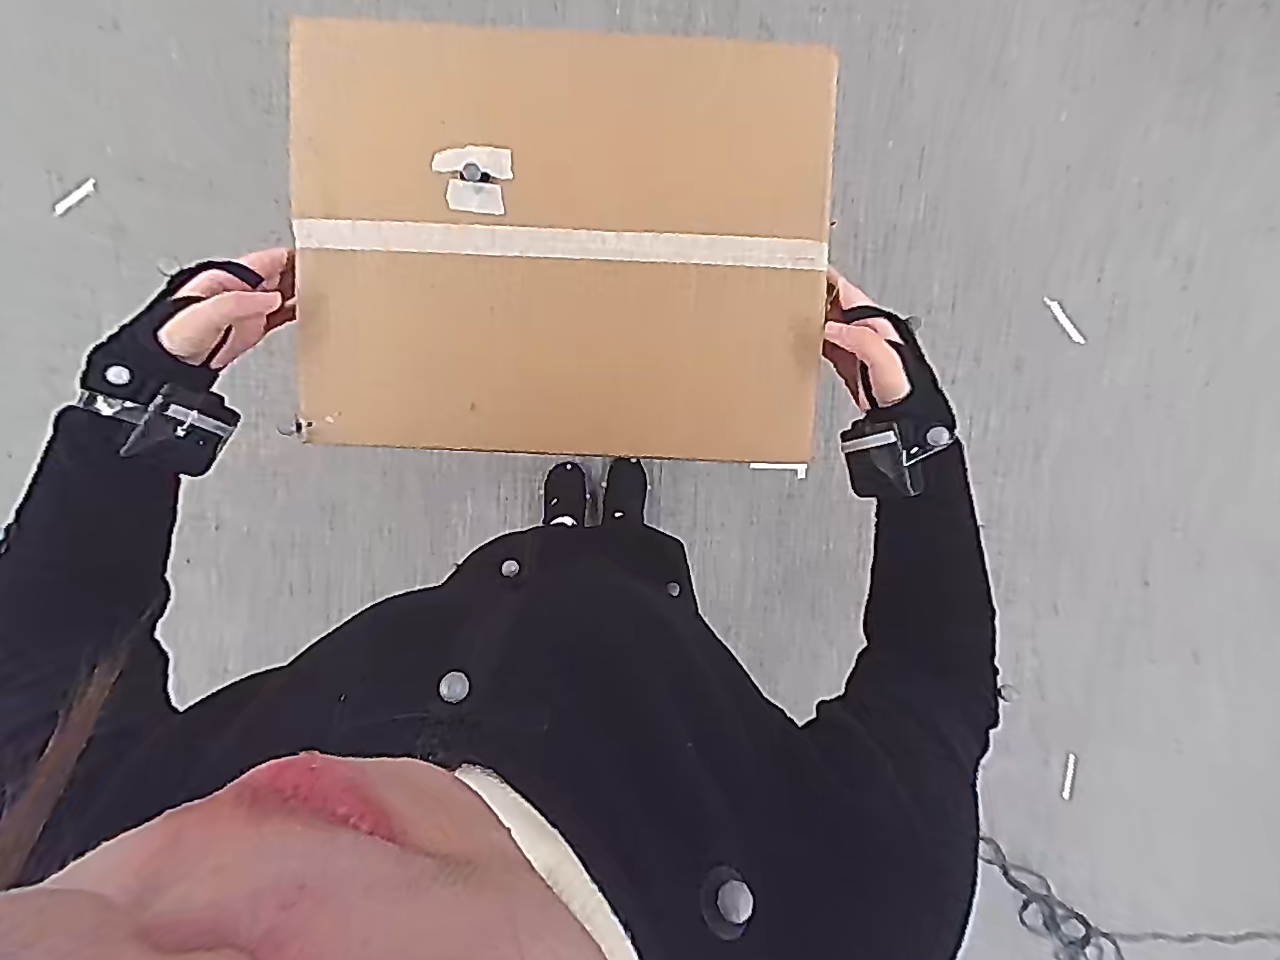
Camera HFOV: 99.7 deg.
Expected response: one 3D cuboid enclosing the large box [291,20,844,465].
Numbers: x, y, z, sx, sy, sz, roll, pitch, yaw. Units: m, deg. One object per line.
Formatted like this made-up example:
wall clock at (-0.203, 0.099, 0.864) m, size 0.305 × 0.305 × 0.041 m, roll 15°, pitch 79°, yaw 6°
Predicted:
large box at (-0.053, -0.187, 0.548) m, size 0.408 × 0.320 × 0.320 m, roll 2°, pitch 95°, yaw 0°
